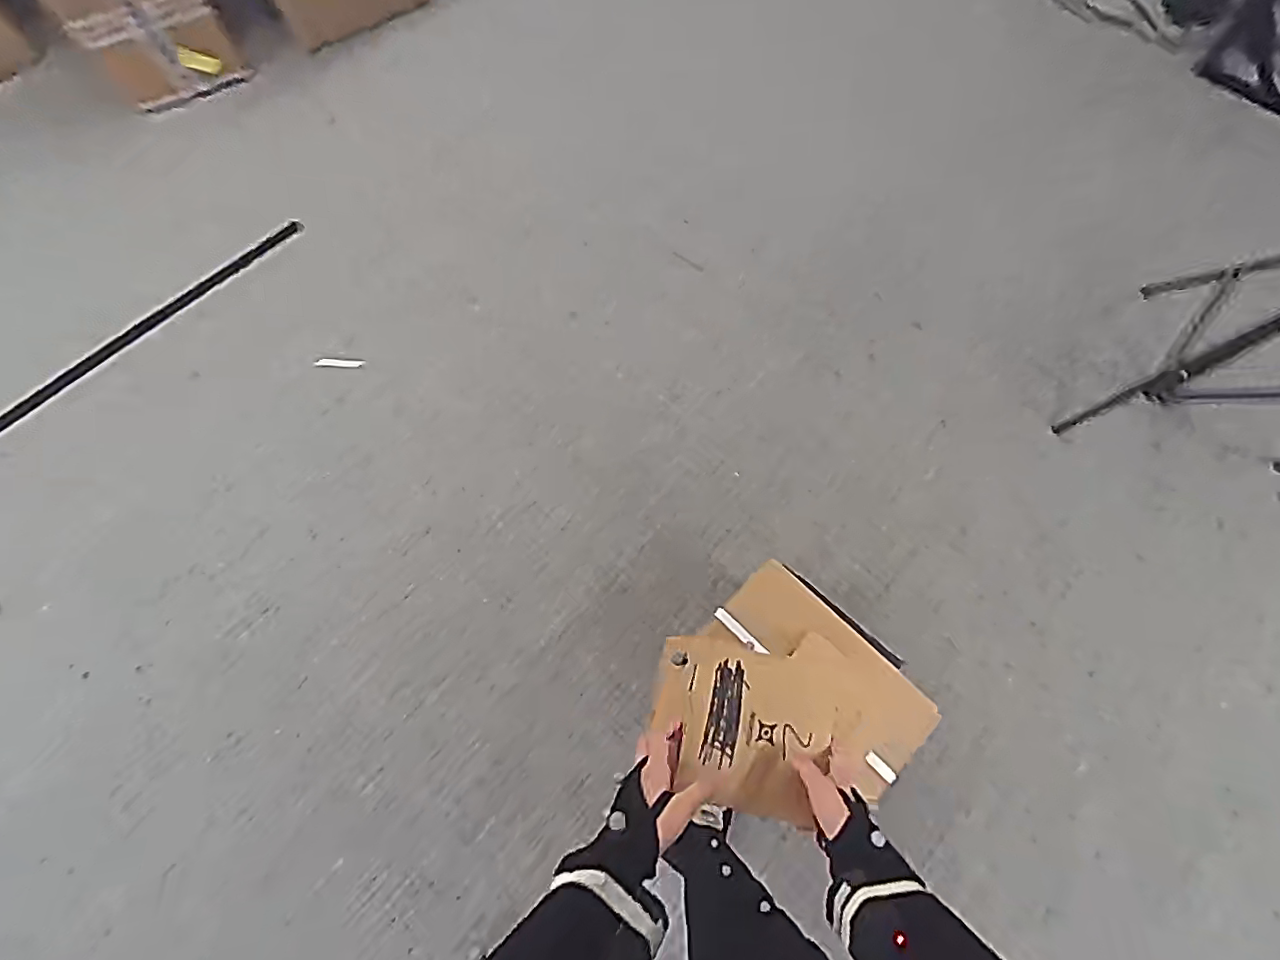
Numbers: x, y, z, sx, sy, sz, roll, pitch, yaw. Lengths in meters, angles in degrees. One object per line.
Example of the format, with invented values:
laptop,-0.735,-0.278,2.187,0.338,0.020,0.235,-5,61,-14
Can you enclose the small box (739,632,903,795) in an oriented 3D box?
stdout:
small box,0.286,0.378,0.900,0.179,0.176,0.168,41,78,13
